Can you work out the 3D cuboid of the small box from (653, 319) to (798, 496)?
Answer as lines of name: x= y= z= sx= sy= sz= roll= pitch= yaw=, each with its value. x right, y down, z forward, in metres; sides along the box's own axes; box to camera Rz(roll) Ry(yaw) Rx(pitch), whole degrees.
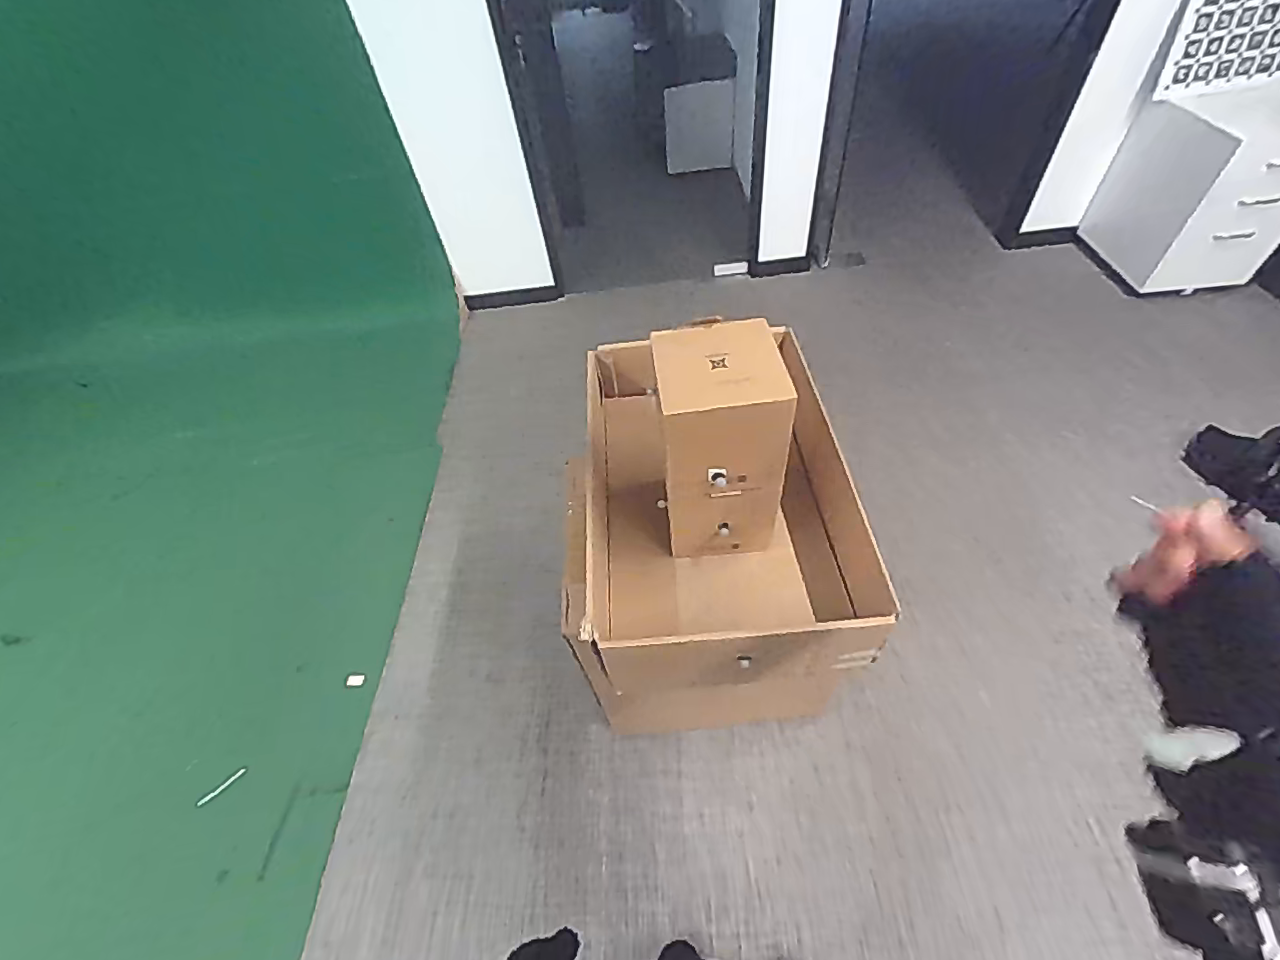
small box: x=0.111 y=-0.101 z=0.769 sx=0.168 sy=0.176 sz=0.179 roll=-8 pitch=50 yaw=1
